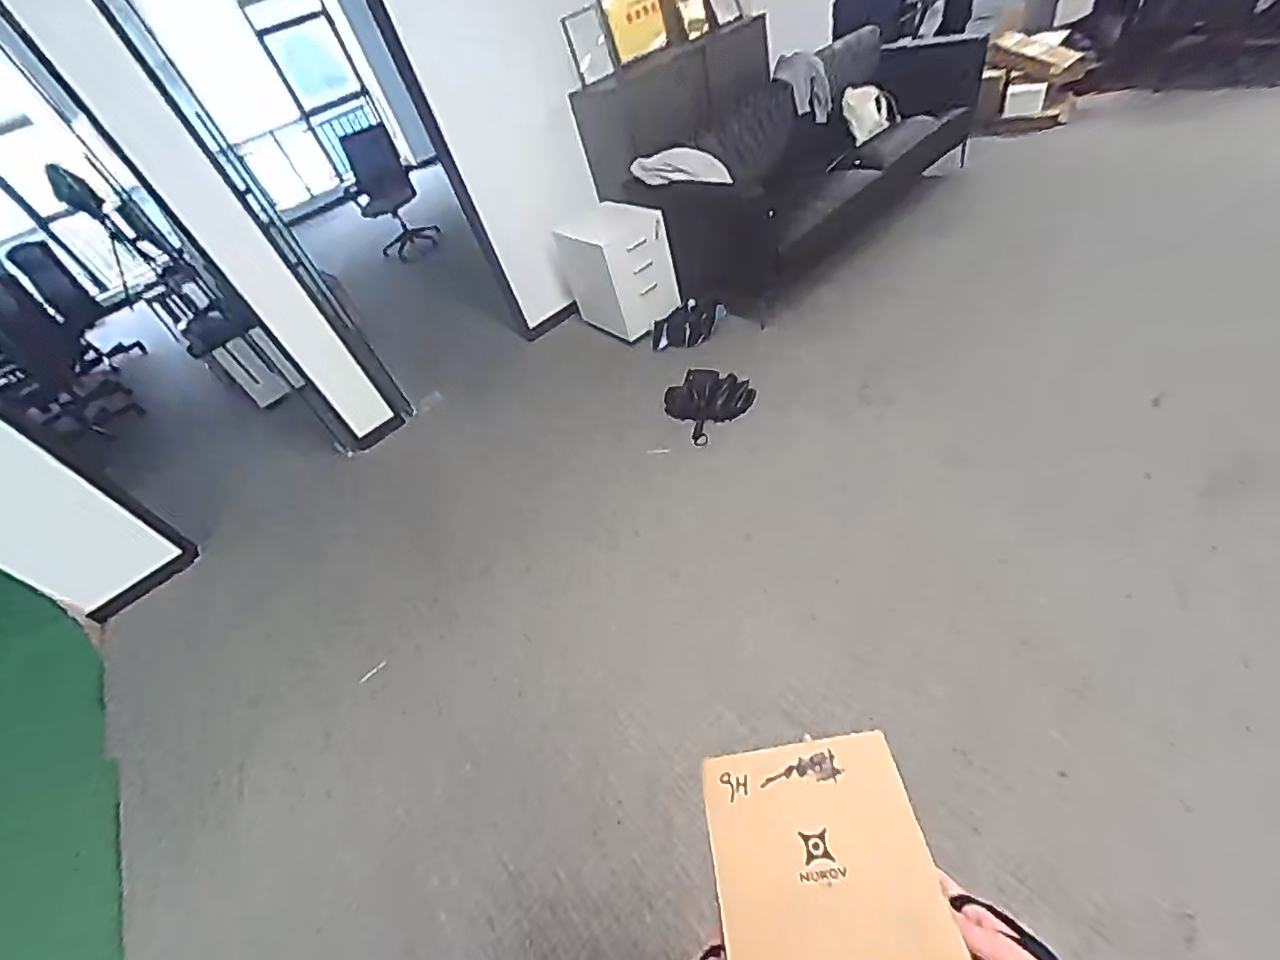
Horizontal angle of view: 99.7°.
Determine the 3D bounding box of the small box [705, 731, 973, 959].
[{"bbox_3d":[0.161,0.350,0.474,0.168,0.176,0.179,-12,44,6],"label":"small box"}]
